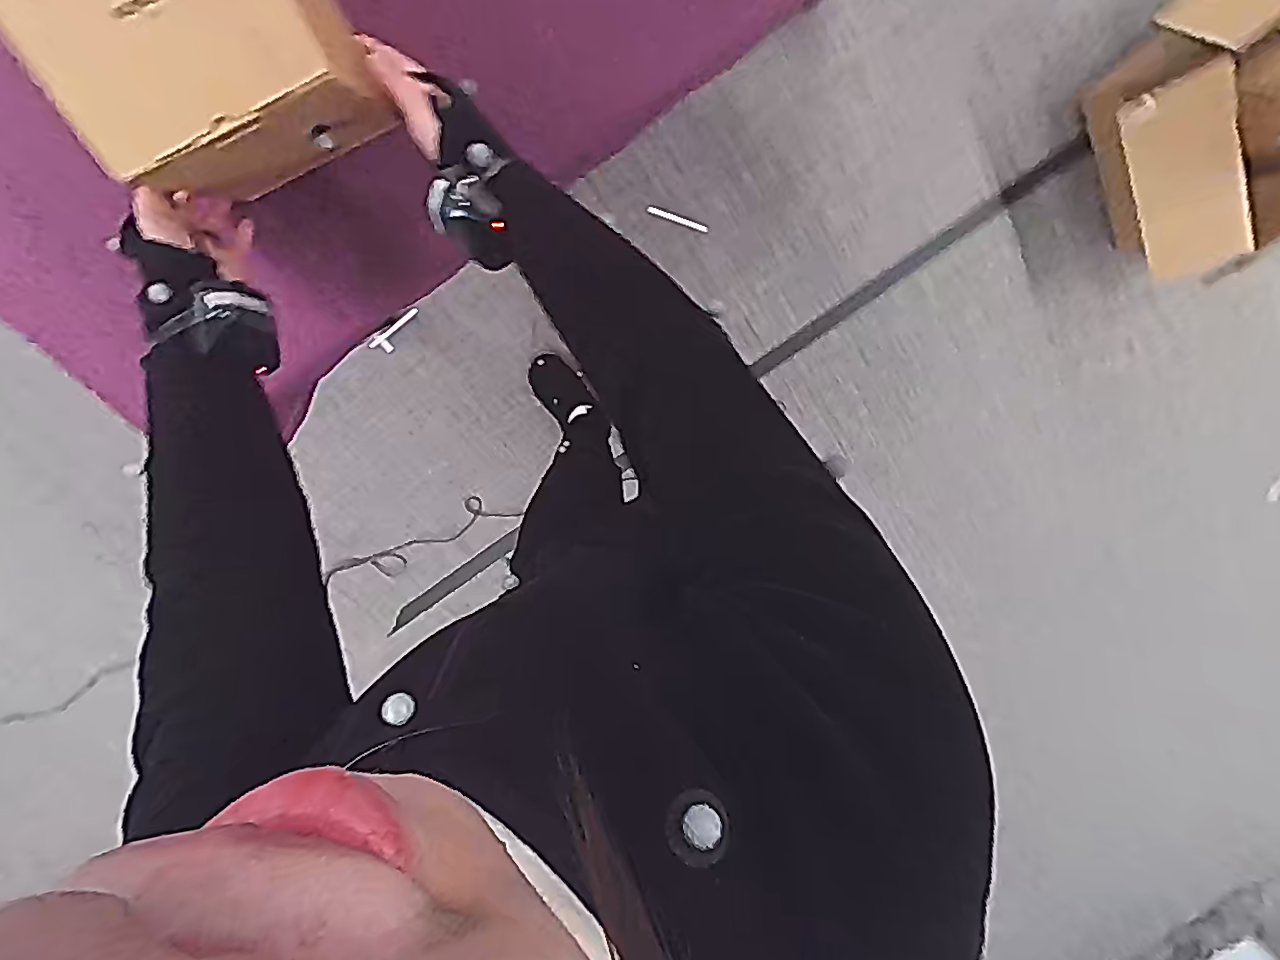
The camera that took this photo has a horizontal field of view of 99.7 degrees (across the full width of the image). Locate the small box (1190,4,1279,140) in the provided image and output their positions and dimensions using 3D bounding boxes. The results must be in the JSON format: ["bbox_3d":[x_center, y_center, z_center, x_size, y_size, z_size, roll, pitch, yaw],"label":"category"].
[{"bbox_3d":[1.219,-0.773,1.020,0.179,0.176,0.168,28,111,-22],"label":"small box"}]

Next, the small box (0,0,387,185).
[{"bbox_3d":[-0.320,-0.336,0.395,0.168,0.176,0.179,-25,115,3],"label":"small box"}]
